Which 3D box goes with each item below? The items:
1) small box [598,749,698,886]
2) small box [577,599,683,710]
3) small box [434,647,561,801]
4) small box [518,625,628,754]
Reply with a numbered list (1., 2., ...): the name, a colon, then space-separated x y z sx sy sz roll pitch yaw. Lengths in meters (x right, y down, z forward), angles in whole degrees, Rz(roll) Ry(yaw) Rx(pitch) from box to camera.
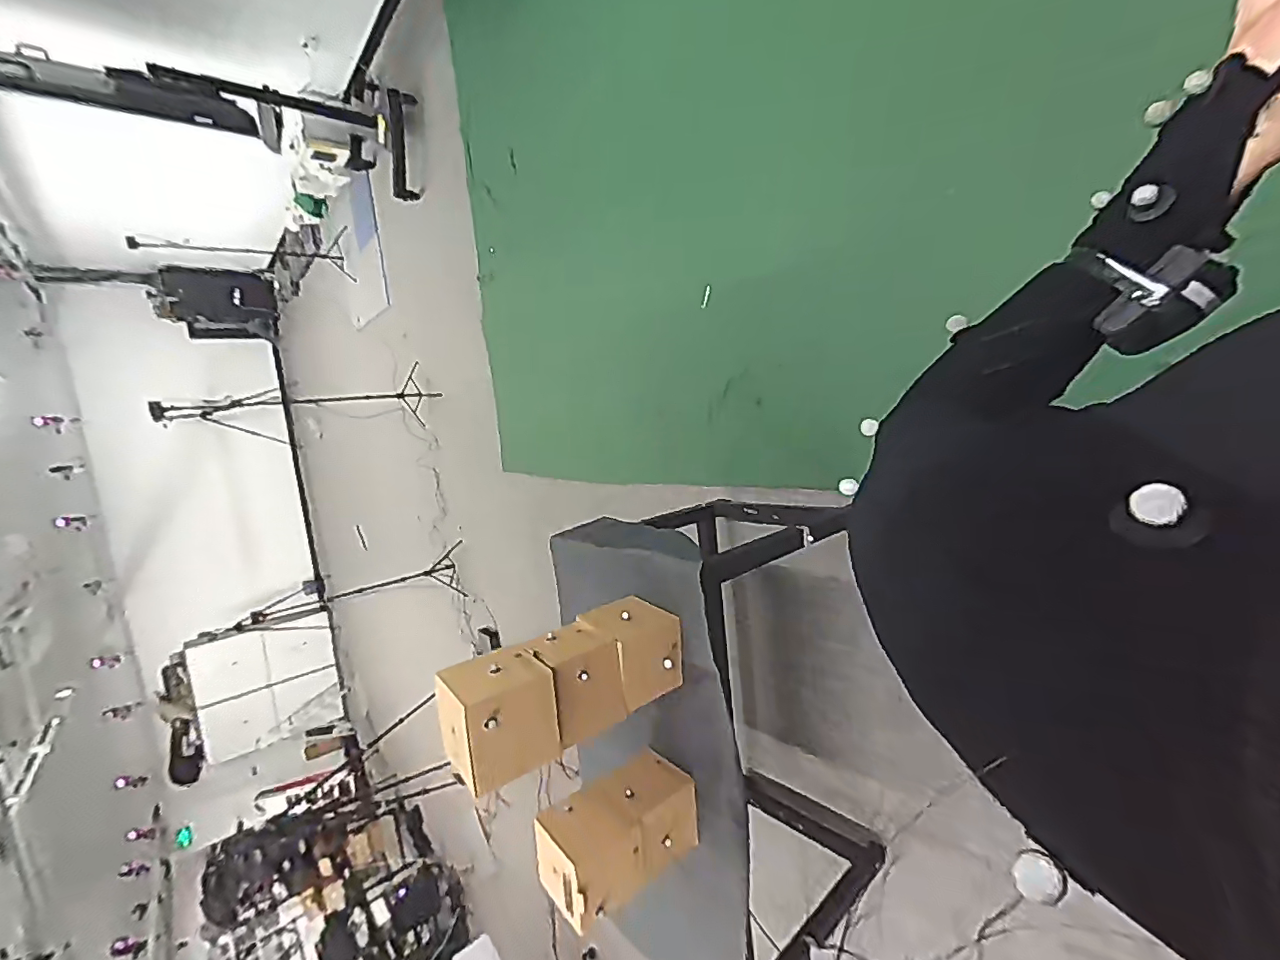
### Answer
1. small box: 0.023 0.780 1.271 0.168 0.176 0.179 5 104 50
2. small box: -0.022 0.382 1.218 0.179 0.176 0.168 11 108 49
3. small box: -0.262 0.434 1.001 0.168 0.176 0.179 8 106 52
4. small box: -0.146 0.419 1.120 0.168 0.176 0.179 0 101 53
